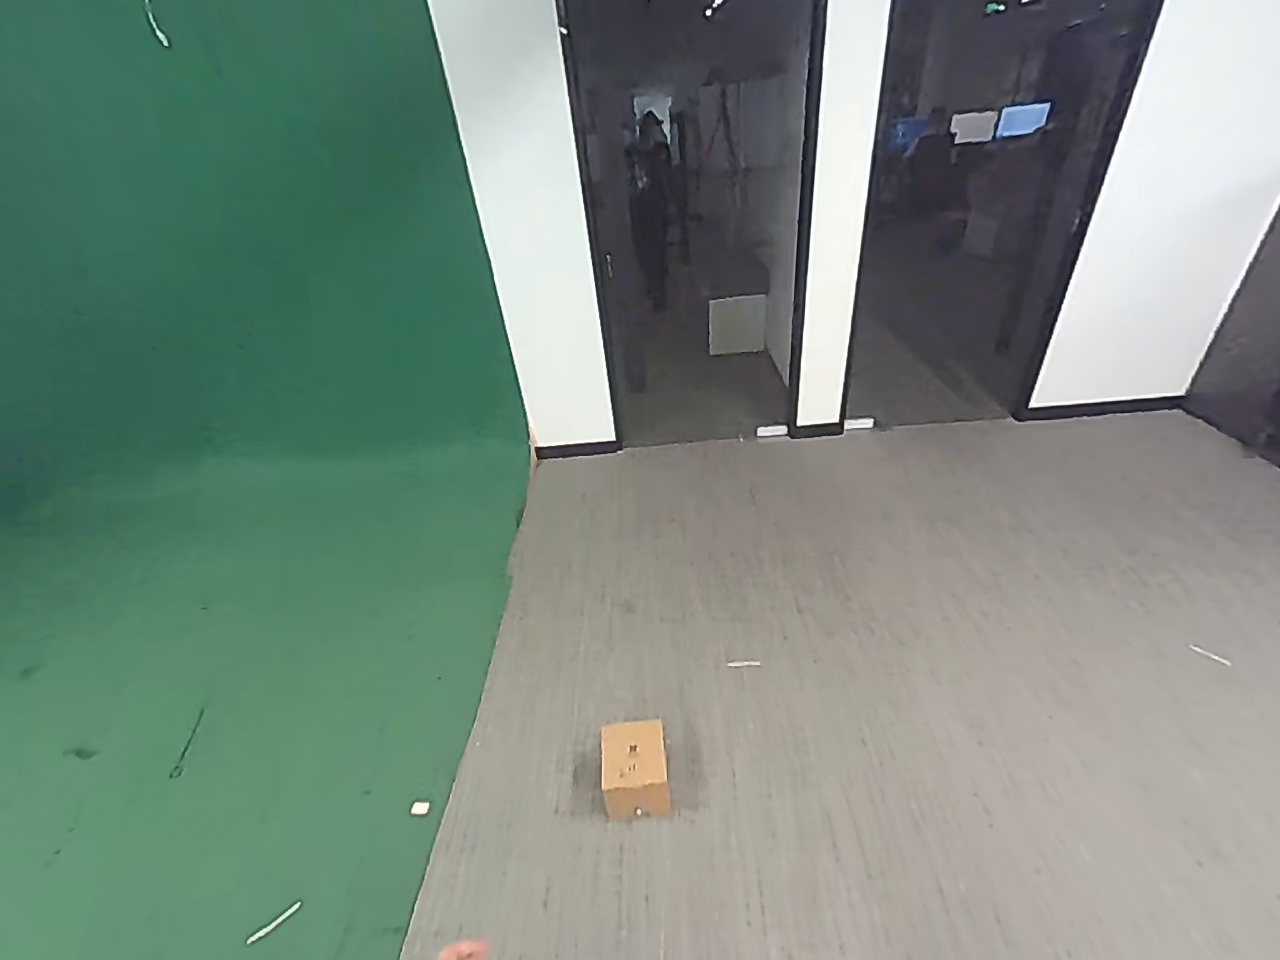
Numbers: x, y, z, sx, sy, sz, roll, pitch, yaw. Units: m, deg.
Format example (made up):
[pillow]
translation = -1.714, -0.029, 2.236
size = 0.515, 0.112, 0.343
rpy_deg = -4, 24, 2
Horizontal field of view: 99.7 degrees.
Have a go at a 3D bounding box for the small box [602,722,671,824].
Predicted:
[small box]
translation = -0.009, 0.779, 1.440
size = 0.168, 0.176, 0.179
rpy_deg = -6, 33, 1
